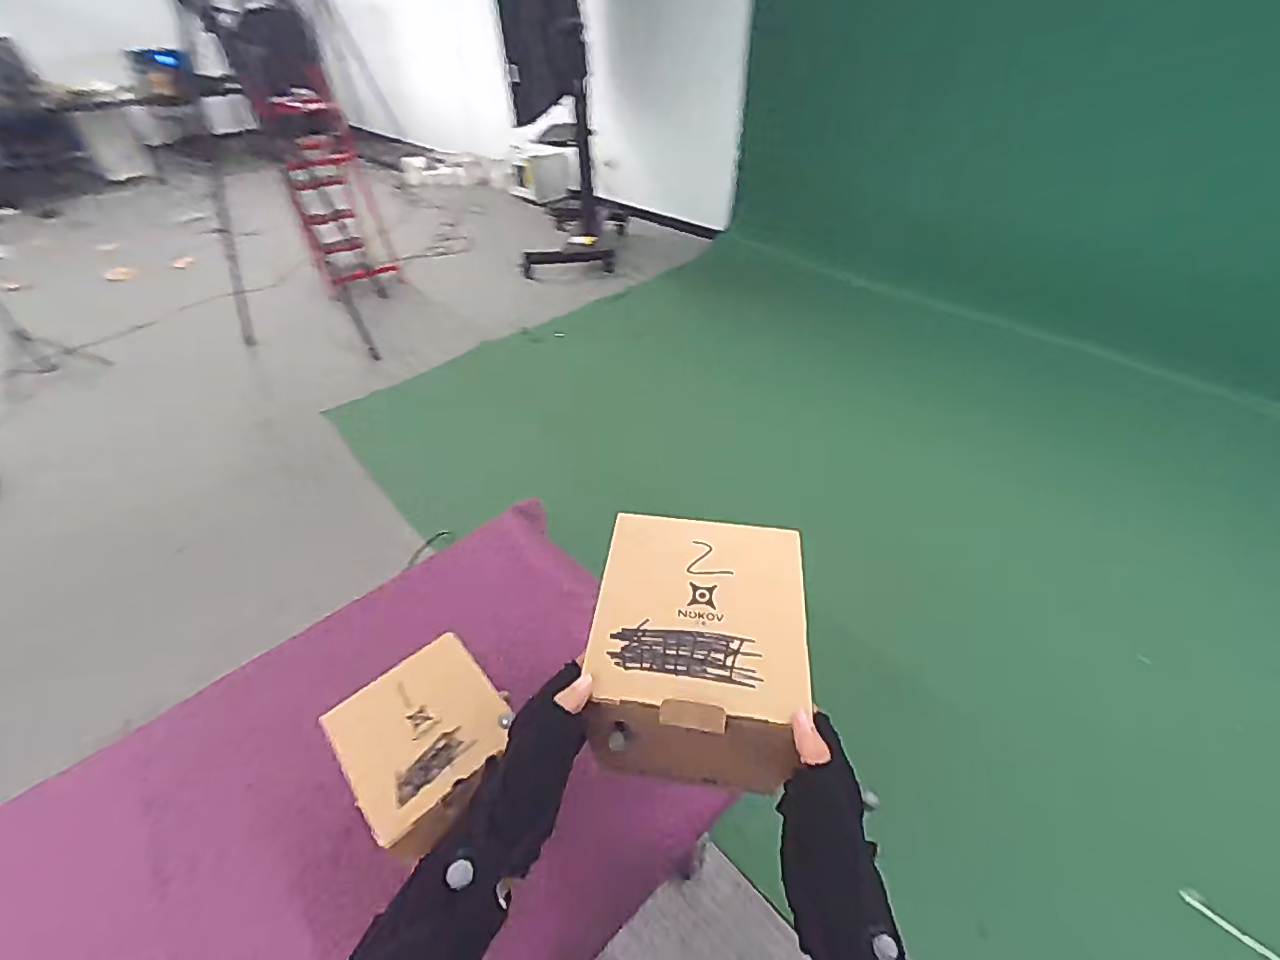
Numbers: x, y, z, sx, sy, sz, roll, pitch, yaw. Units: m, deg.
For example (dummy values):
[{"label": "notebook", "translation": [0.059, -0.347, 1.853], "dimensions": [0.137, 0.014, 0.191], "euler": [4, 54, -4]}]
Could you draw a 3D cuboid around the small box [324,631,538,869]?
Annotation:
[{"label": "small box", "translation": [-0.240, 0.327, 0.652], "dimensions": [0.168, 0.176, 0.179], "euler": [-29, 50, -28]}]
